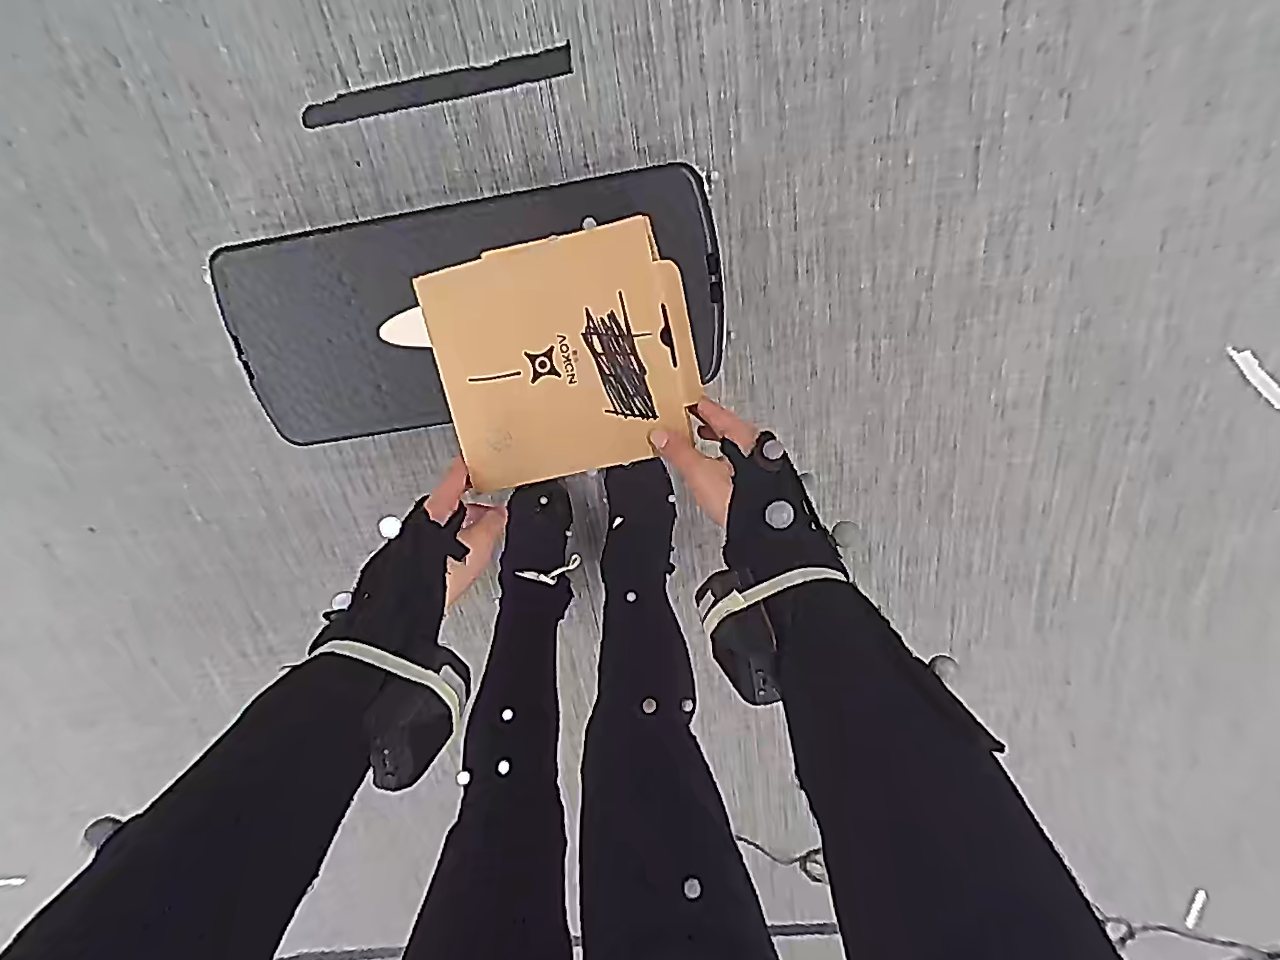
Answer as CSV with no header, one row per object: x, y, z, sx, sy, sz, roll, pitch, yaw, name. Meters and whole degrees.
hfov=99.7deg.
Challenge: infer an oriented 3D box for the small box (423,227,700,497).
-0.050,-0.095,0.469,0.179,0.176,0.168,-11,99,8,small box
